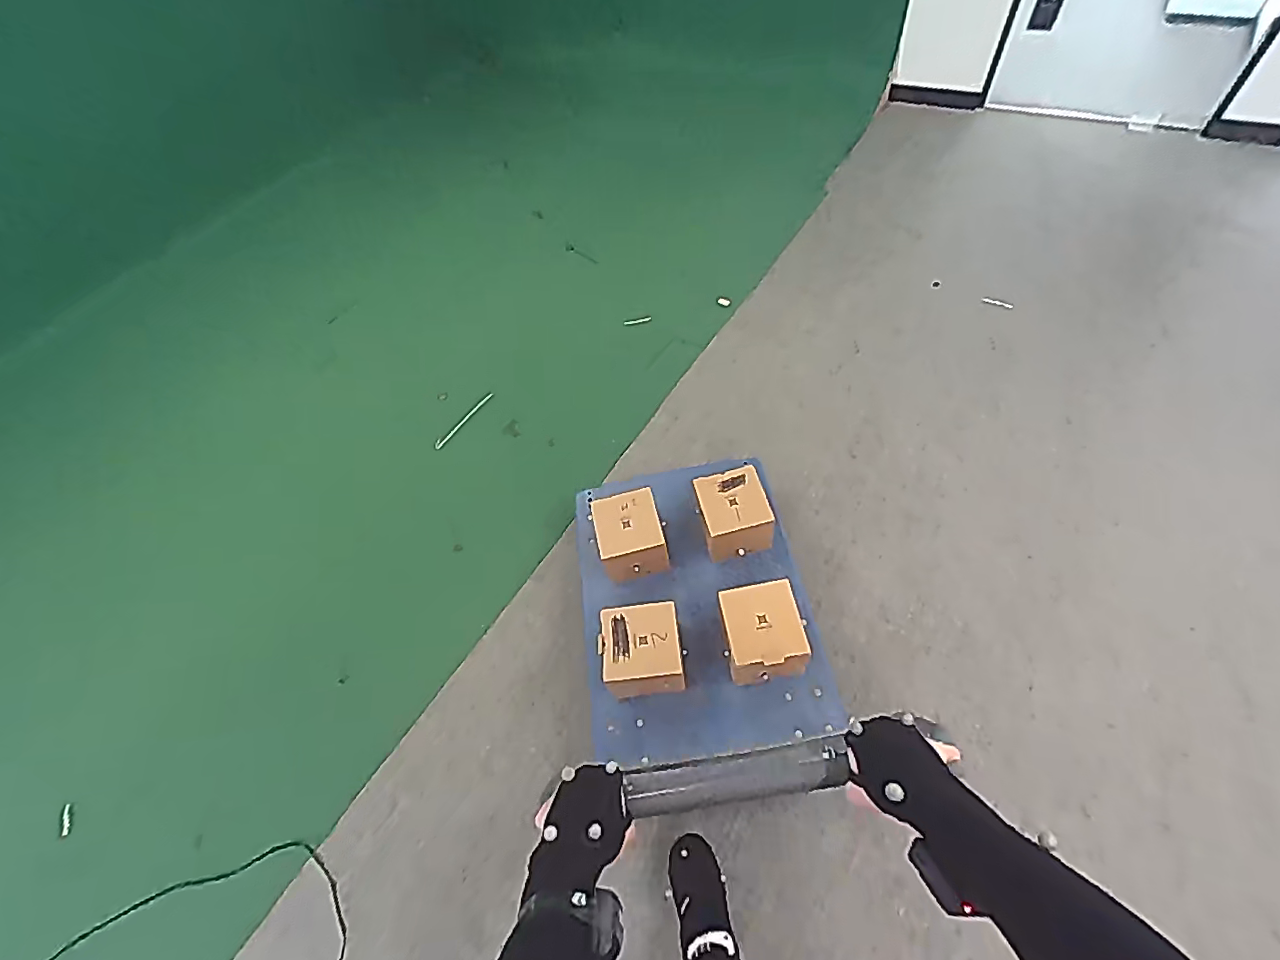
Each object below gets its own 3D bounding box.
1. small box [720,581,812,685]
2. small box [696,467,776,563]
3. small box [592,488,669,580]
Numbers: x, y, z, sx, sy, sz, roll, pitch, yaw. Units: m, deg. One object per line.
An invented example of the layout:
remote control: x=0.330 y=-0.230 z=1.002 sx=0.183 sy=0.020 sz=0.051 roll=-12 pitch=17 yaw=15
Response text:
small box: x=0.283 y=0.359 z=1.261 sx=0.168 sy=0.176 sz=0.179 roll=-11 pitch=57 yaw=1
small box: x=0.249 y=0.096 z=1.436 sx=0.168 sy=0.176 sz=0.179 roll=-14 pitch=57 yaw=0
small box: x=-0.021 y=0.152 z=1.440 sx=0.168 sy=0.176 sz=0.179 roll=-13 pitch=56 yaw=-1
